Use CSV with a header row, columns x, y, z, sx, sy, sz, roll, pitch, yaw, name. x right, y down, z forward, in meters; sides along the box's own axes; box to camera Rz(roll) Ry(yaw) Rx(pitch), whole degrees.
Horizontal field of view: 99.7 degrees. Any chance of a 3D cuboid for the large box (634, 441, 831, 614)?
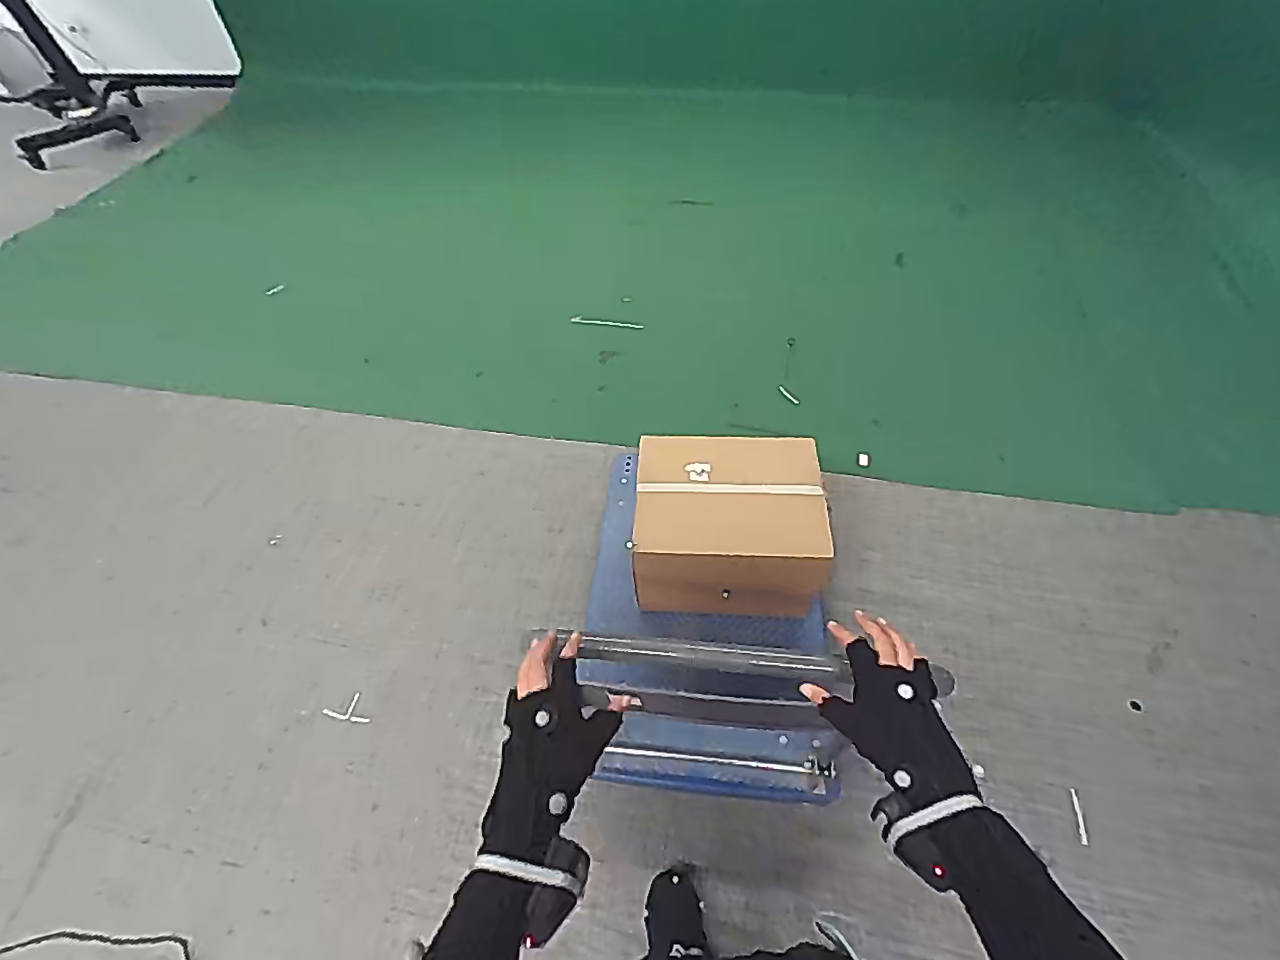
x,y,z,sx,sy,sz,roll,pitch,yaw,name
0.202,0.120,1.300,0.408,0.320,0.320,1,53,5,large box
